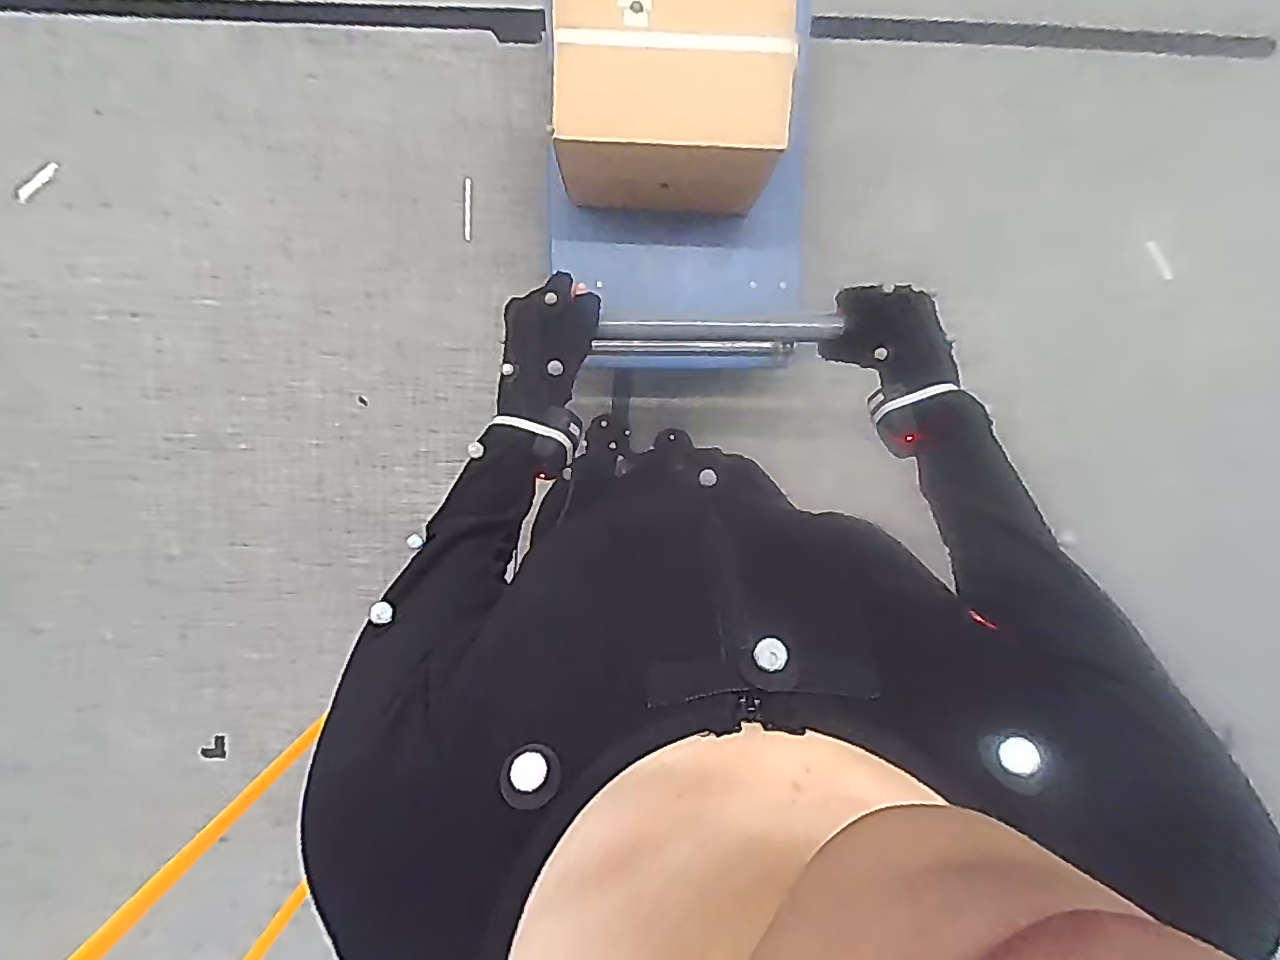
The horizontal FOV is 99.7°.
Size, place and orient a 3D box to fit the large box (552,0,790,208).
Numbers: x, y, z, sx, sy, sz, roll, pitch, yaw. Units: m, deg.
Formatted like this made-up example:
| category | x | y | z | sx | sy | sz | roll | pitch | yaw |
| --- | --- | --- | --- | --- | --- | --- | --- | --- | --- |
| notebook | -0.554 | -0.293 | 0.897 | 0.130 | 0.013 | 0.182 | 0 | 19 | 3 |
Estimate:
| category | x | y | z | sx | sy | sz | roll | pitch | yaw |
| --- | --- | --- | --- | --- | --- | --- | --- | --- | --- |
| large box | 0.052 | -0.745 | 1.056 | 0.408 | 0.320 | 0.320 | 2 | 97 | 0 |

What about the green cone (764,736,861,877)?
| category | x | y | z | sx | sy | sz | roll | pitch | yaw |
| --- | --- | --- | --- | --- | --- | --- | --- | --- | --- |
| green cone | 0.475 | 0.871 | 1.413 | 0.202 | 0.368 | 0.200 | 6 | 97 | -2 |
